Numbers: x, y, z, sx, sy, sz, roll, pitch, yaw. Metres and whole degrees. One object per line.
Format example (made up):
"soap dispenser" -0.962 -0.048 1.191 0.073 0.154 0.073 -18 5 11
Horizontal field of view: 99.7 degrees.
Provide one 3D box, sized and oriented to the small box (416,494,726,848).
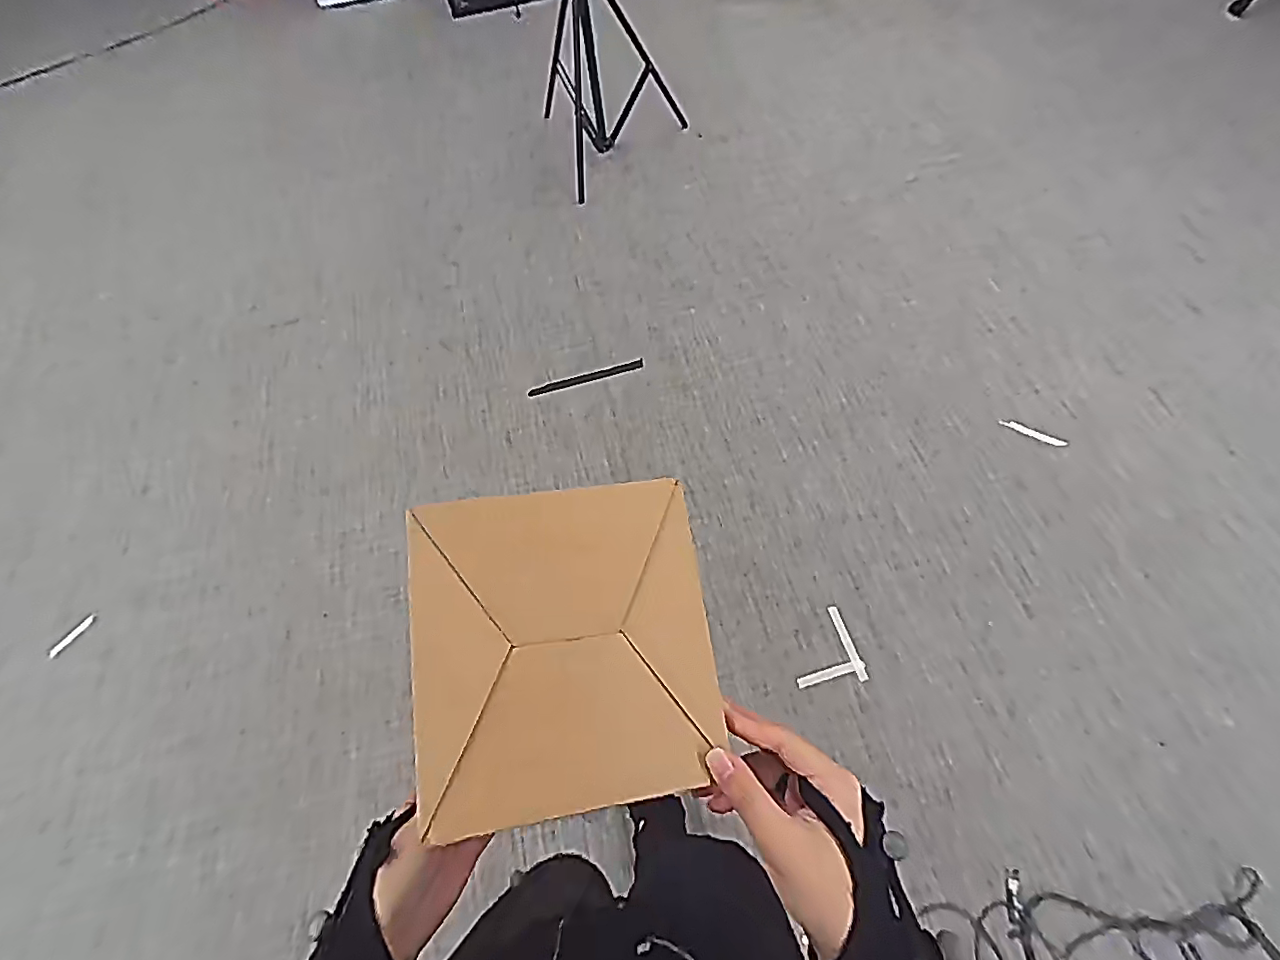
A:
"small box" -0.052 0.118 0.379 0.168 0.176 0.179 -6 73 -12
